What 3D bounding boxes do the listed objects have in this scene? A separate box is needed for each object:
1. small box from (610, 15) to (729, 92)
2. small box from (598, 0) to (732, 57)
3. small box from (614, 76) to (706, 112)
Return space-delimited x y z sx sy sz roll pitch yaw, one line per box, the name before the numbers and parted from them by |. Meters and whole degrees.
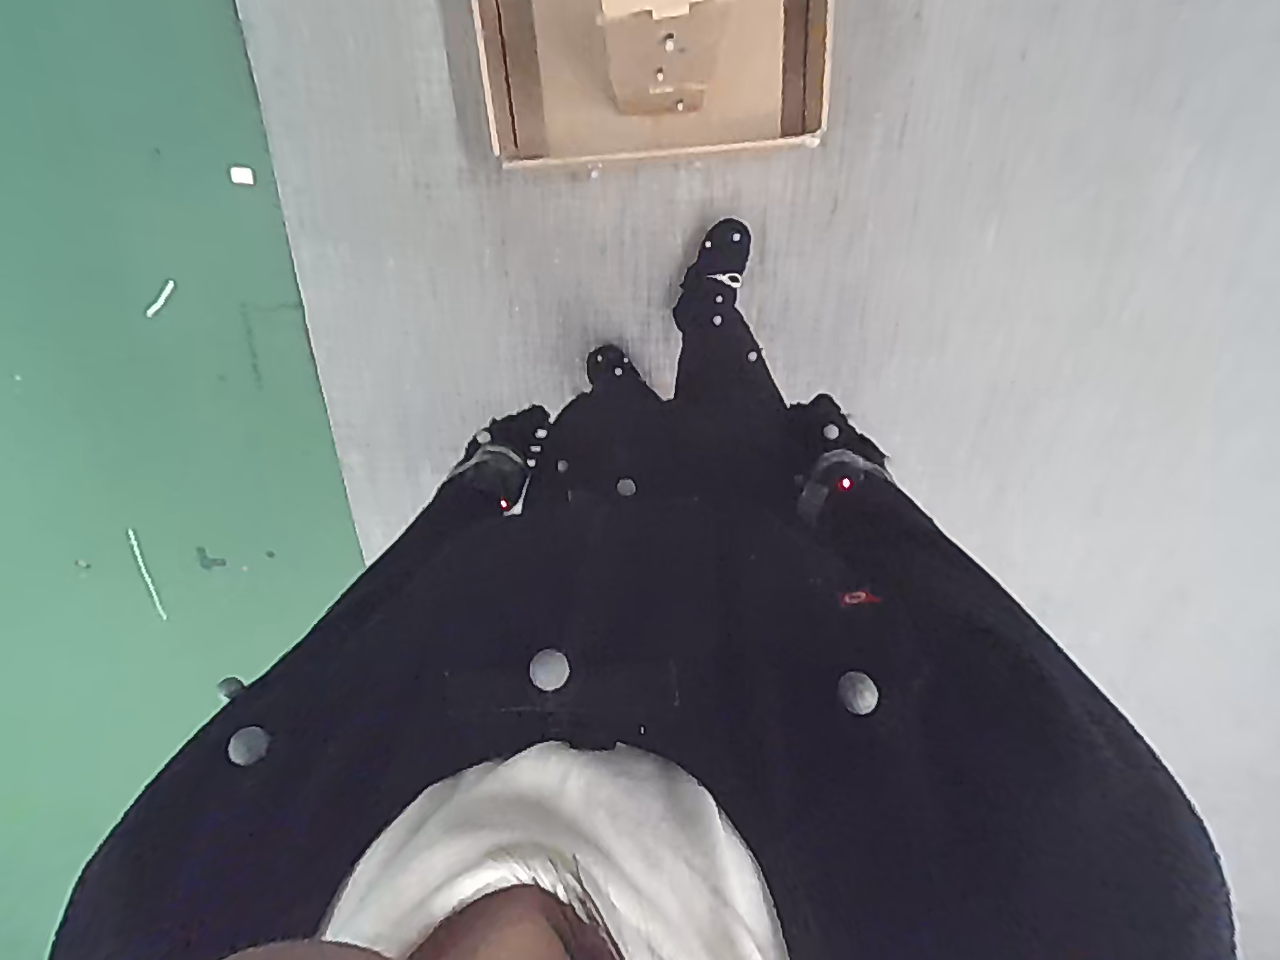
small box | 0.035 -0.736 0.847 0.179 0.176 0.168 -7 113 3
small box | 0.027 -0.676 0.696 0.168 0.176 0.179 -6 113 4
small box | 0.036 -0.801 0.998 0.168 0.176 0.179 -2 111 2
